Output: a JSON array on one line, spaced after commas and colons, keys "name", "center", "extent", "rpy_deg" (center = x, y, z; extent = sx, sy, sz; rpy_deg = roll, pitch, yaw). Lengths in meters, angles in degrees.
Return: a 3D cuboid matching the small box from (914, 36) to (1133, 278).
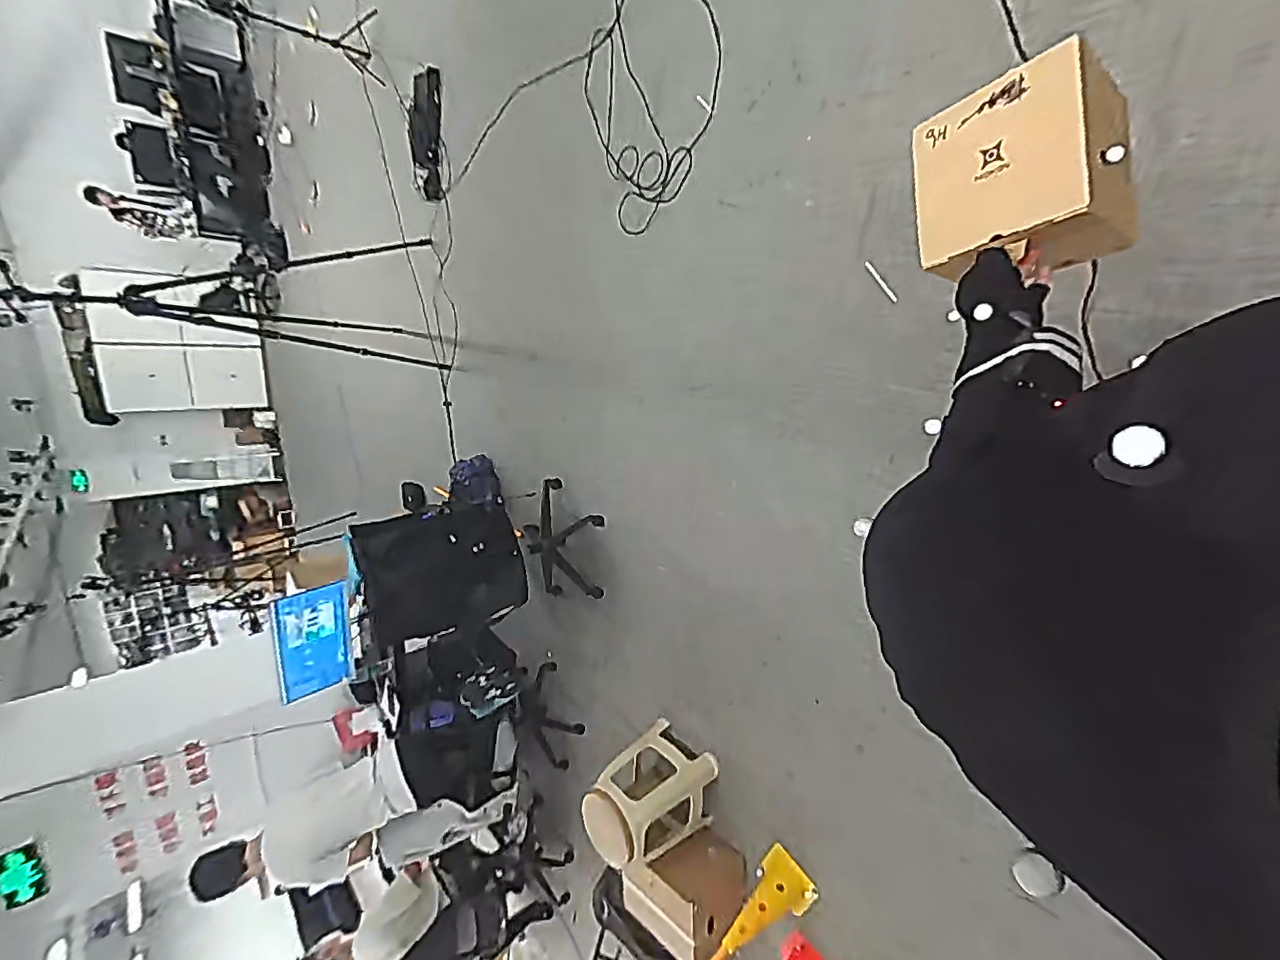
[{"name": "small box", "center": [0.451, -0.352, 0.638], "extent": [0.168, 0.176, 0.179], "rpy_deg": [-4, 90, 53]}]
